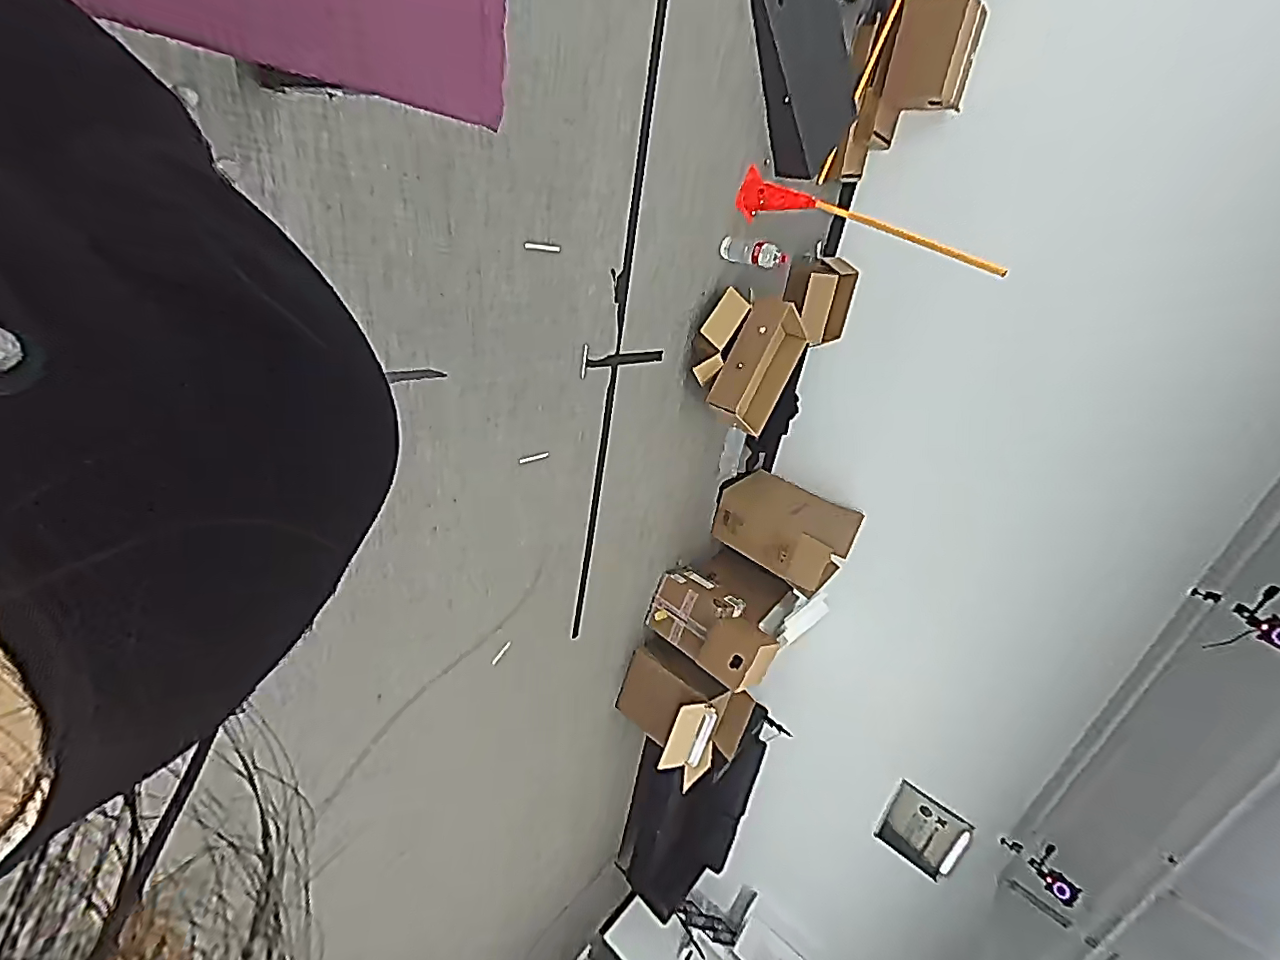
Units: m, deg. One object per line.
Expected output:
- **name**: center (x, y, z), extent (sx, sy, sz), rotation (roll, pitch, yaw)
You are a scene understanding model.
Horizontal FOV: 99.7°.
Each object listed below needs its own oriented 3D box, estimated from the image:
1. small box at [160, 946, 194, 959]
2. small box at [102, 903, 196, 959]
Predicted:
- **small box**: center (-1.390, 1.526, 1.578), extent (0.168, 0.176, 0.179), rotation (-23, 132, -45)
- **small box**: center (-1.511, 1.461, 1.665), extent (0.168, 0.176, 0.179), rotation (-23, 131, -46)
